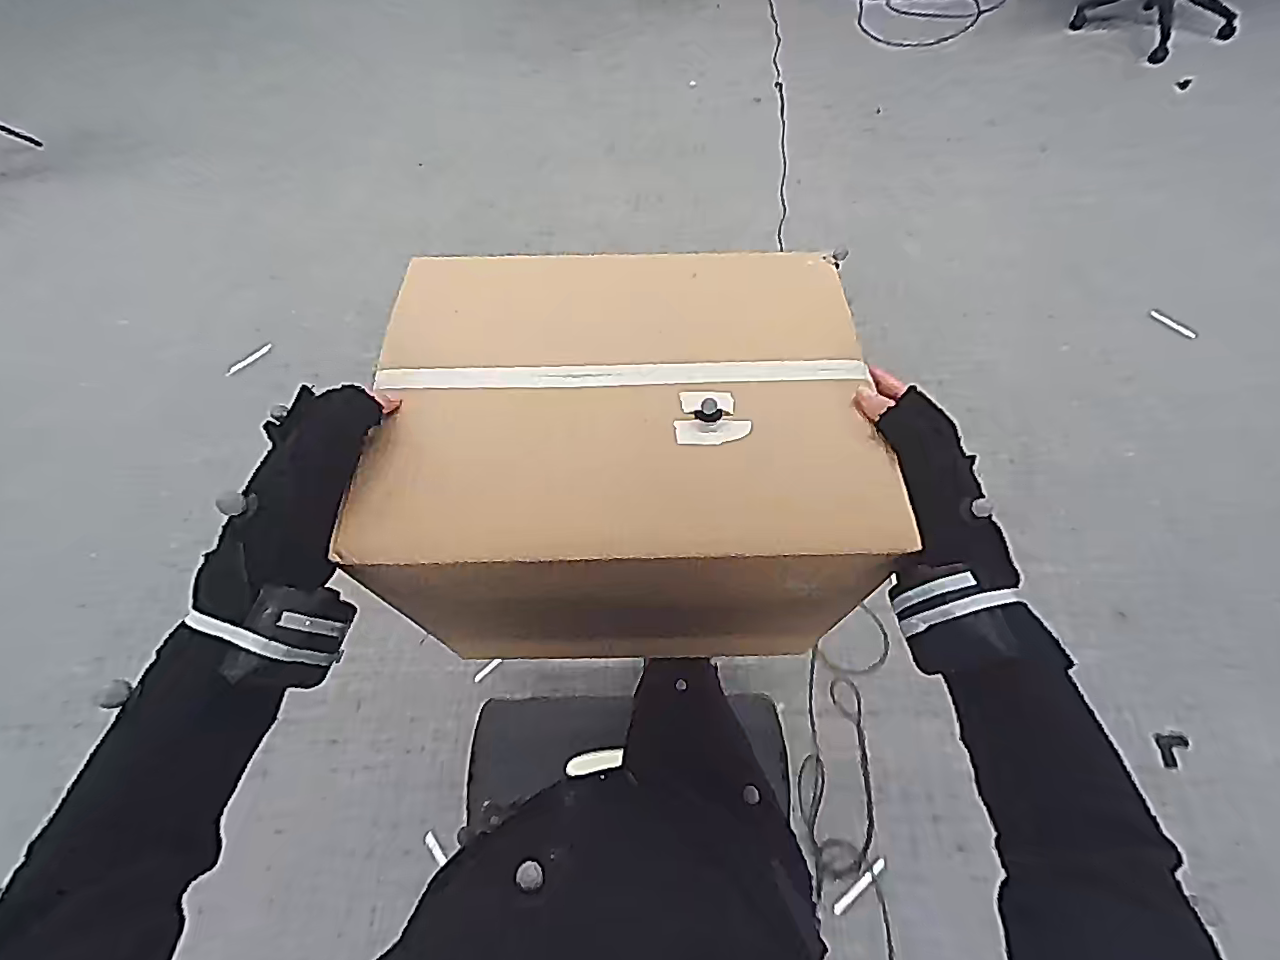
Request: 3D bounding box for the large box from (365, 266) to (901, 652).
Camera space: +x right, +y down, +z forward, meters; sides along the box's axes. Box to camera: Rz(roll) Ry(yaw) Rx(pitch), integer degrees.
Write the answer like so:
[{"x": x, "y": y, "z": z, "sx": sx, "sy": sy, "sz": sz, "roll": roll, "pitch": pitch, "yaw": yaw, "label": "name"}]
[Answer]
[{"x": -0.009, "y": -0.007, "z": 0.598, "sx": 0.408, "sy": 0.320, "sz": 0.320, "roll": -1, "pitch": 60, "yaw": -1, "label": "large box"}]
